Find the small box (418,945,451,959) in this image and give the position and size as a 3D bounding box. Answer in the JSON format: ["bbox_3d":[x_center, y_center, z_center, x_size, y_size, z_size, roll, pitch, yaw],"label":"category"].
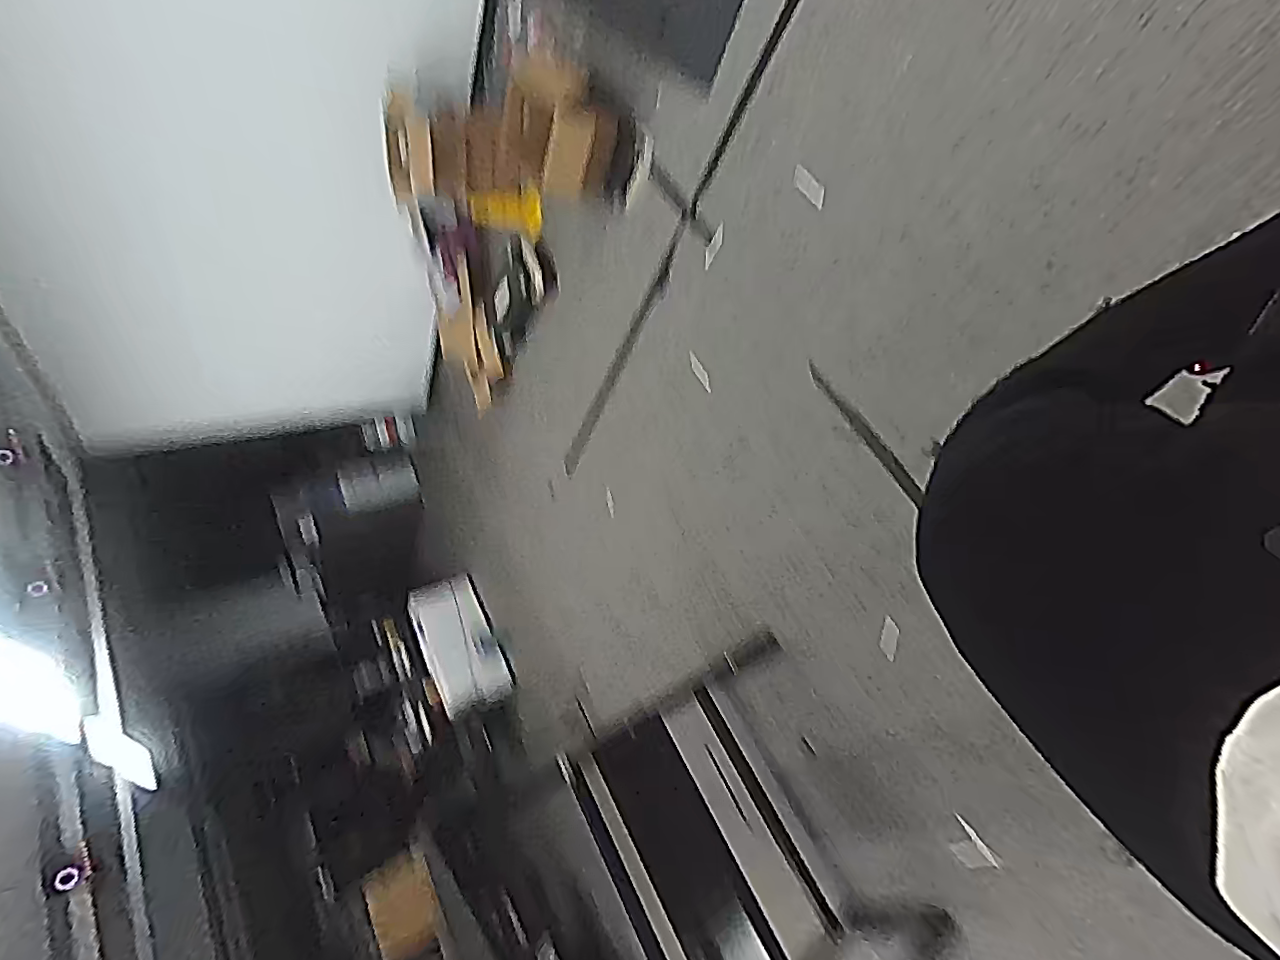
[{"bbox_3d":[-0.629,1.511,1.579,0.168,0.176,0.179,59,142,20],"label":"small box"}]

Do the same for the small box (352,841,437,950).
[{"bbox_3d":[-0.665,1.116,1.470,0.168,0.176,0.179,61,146,17],"label":"small box"}]
